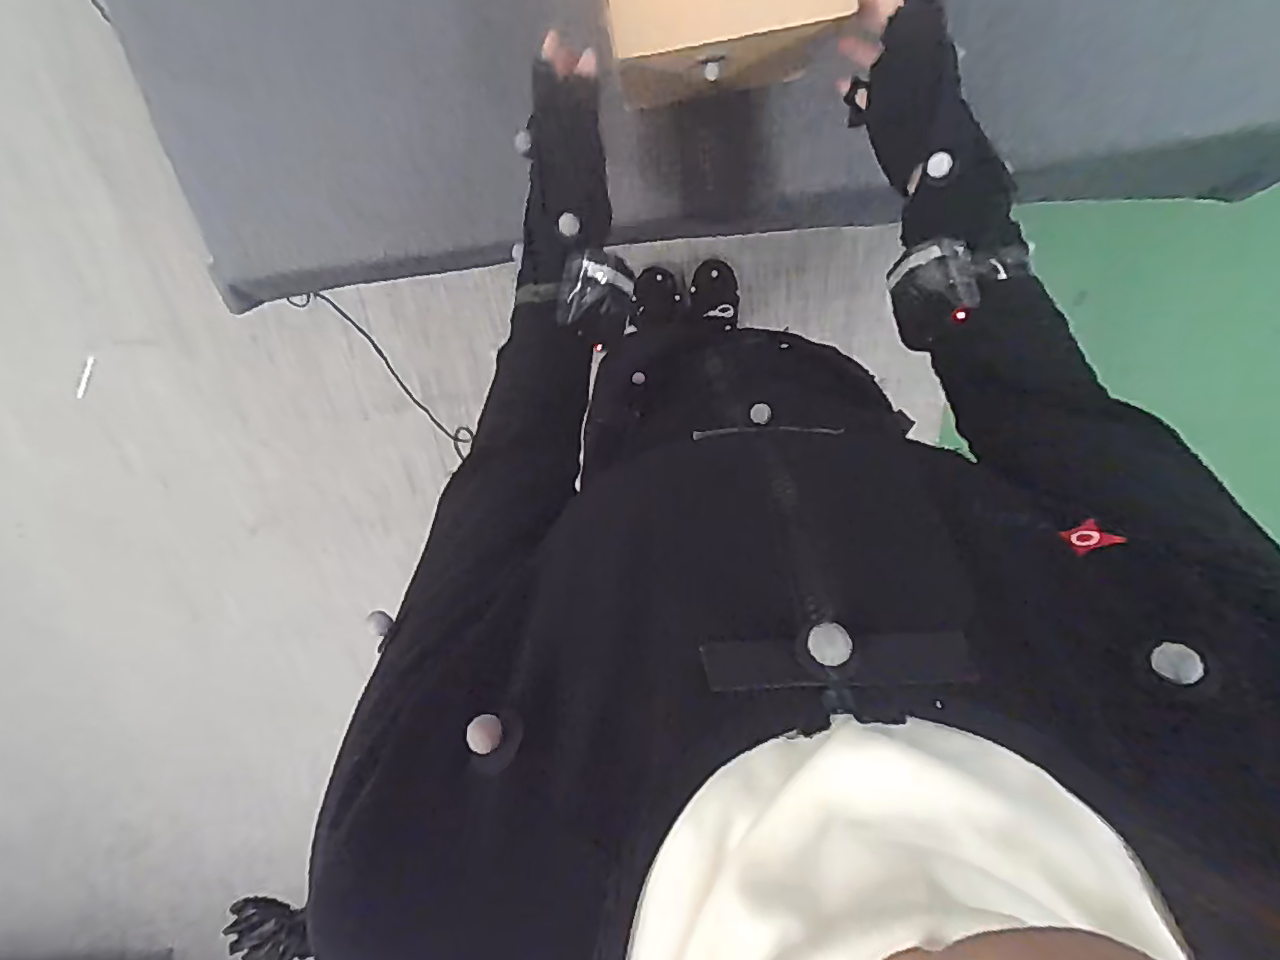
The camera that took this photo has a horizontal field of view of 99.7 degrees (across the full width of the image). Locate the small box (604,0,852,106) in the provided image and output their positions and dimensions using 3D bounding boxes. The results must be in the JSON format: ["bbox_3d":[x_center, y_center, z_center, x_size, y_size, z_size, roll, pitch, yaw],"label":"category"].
[{"bbox_3d":[0.057,-0.426,0.435,0.179,0.176,0.168,-7,113,4],"label":"small box"}]
